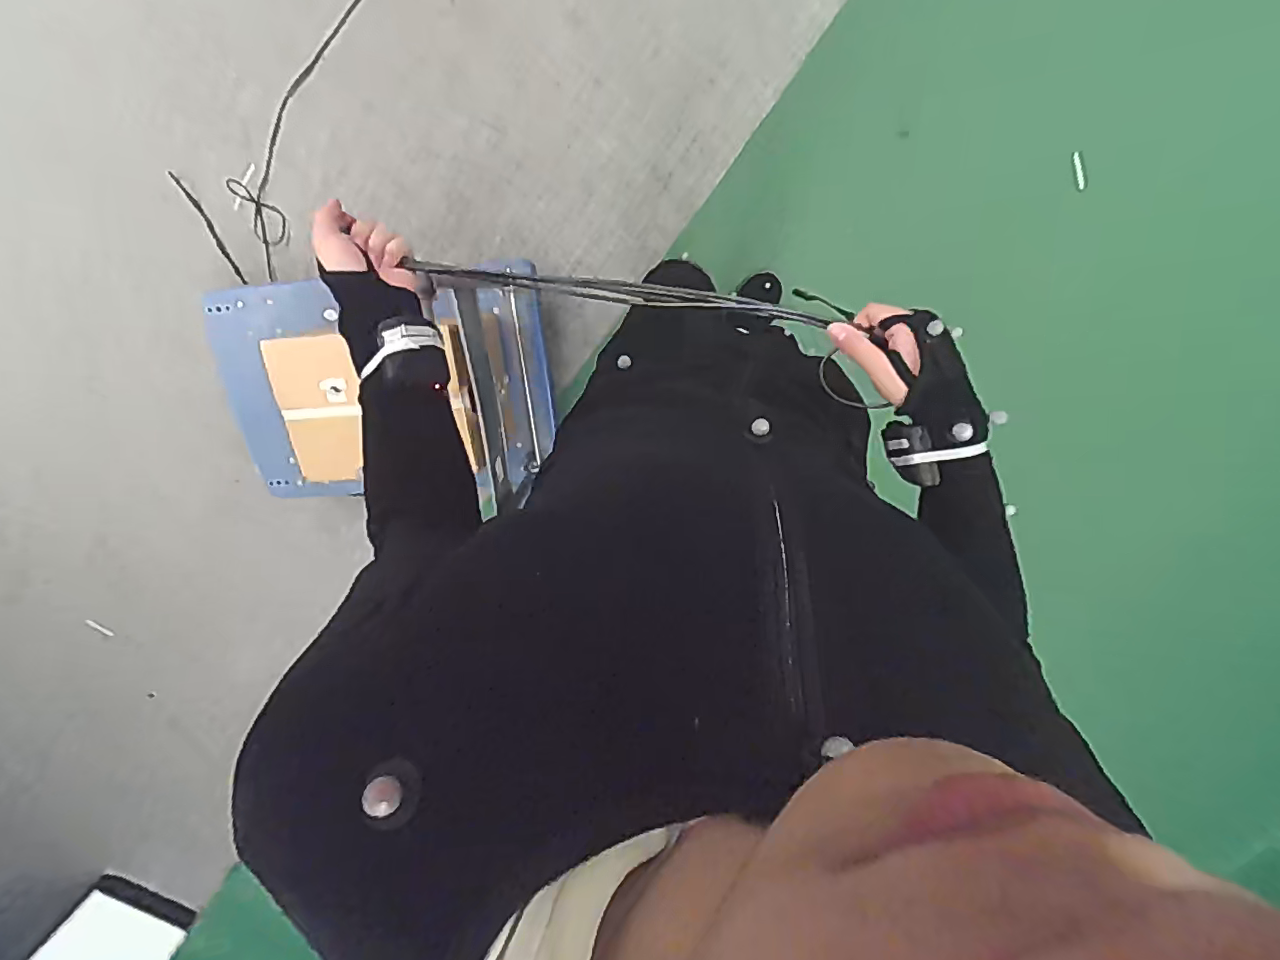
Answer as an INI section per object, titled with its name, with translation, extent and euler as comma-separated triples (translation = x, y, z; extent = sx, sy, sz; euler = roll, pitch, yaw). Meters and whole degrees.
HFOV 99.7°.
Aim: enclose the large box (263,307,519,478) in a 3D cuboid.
[large box]
translation = -0.540, -0.214, 1.260
extent = 0.408, 0.320, 0.320
euler = -3, 110, 6
